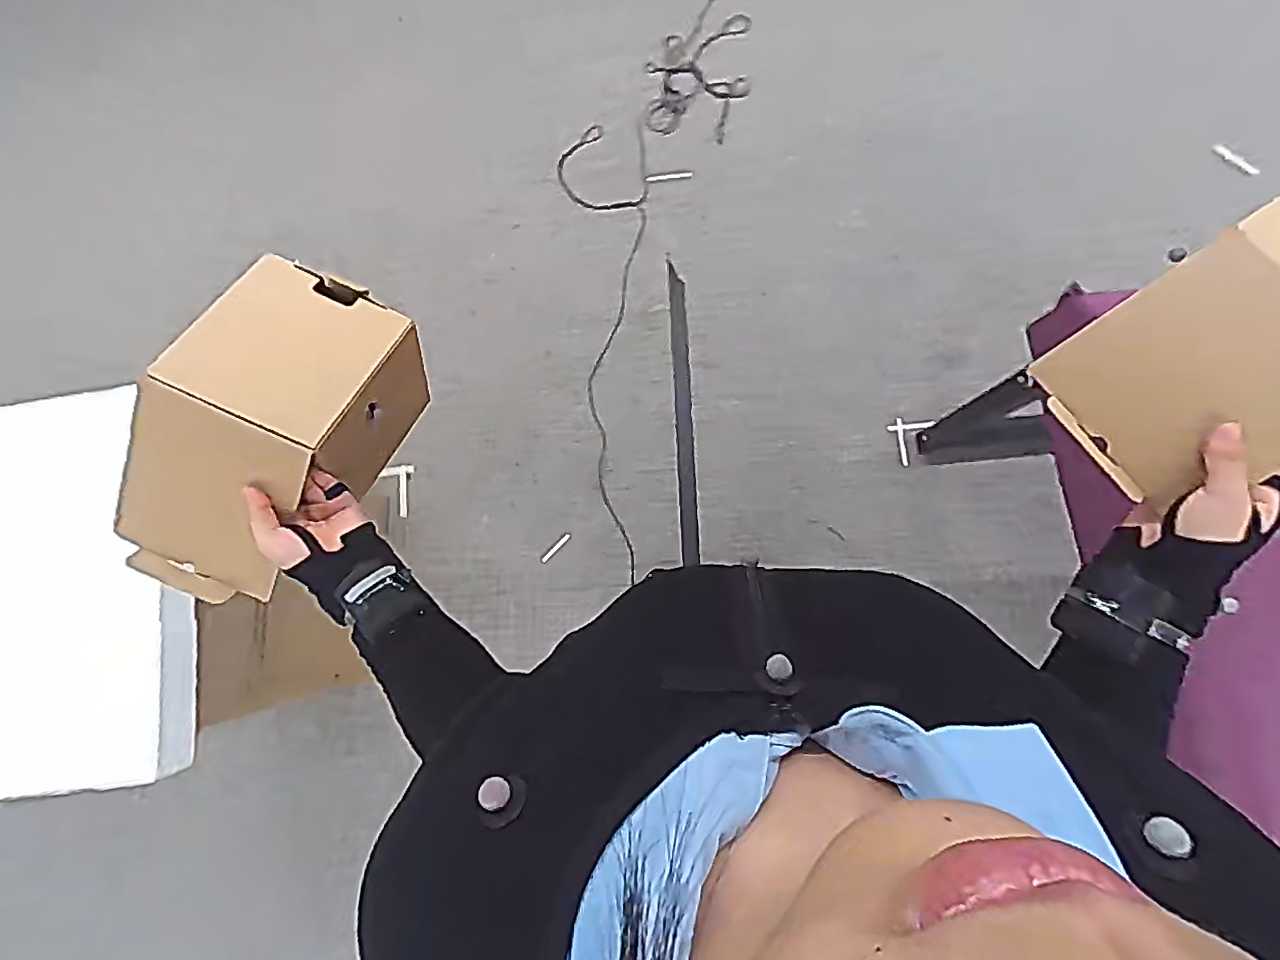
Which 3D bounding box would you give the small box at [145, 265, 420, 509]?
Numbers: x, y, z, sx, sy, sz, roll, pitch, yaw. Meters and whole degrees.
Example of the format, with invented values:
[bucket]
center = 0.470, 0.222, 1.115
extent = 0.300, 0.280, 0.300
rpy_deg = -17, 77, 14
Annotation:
[small box]
center = -0.367, -0.092, 0.603
extent = 0.168, 0.176, 0.179
rpy_deg = 24, 62, -3
